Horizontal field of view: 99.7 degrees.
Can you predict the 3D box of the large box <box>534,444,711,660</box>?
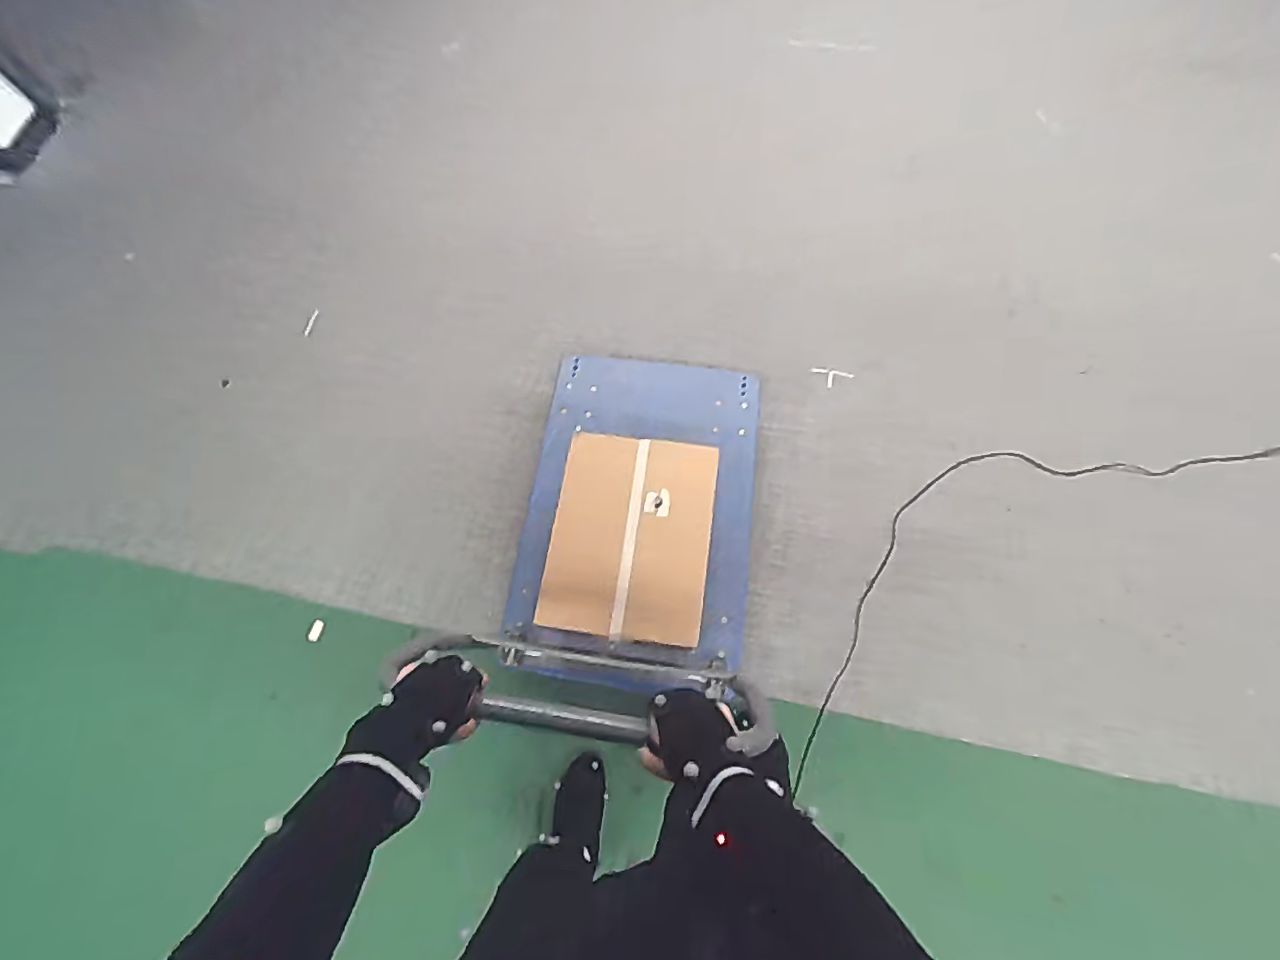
[{"bbox_3d":[-0.021,0.176,1.217,0.320,0.320,0.408,7,70,5],"label":"large box"}]
